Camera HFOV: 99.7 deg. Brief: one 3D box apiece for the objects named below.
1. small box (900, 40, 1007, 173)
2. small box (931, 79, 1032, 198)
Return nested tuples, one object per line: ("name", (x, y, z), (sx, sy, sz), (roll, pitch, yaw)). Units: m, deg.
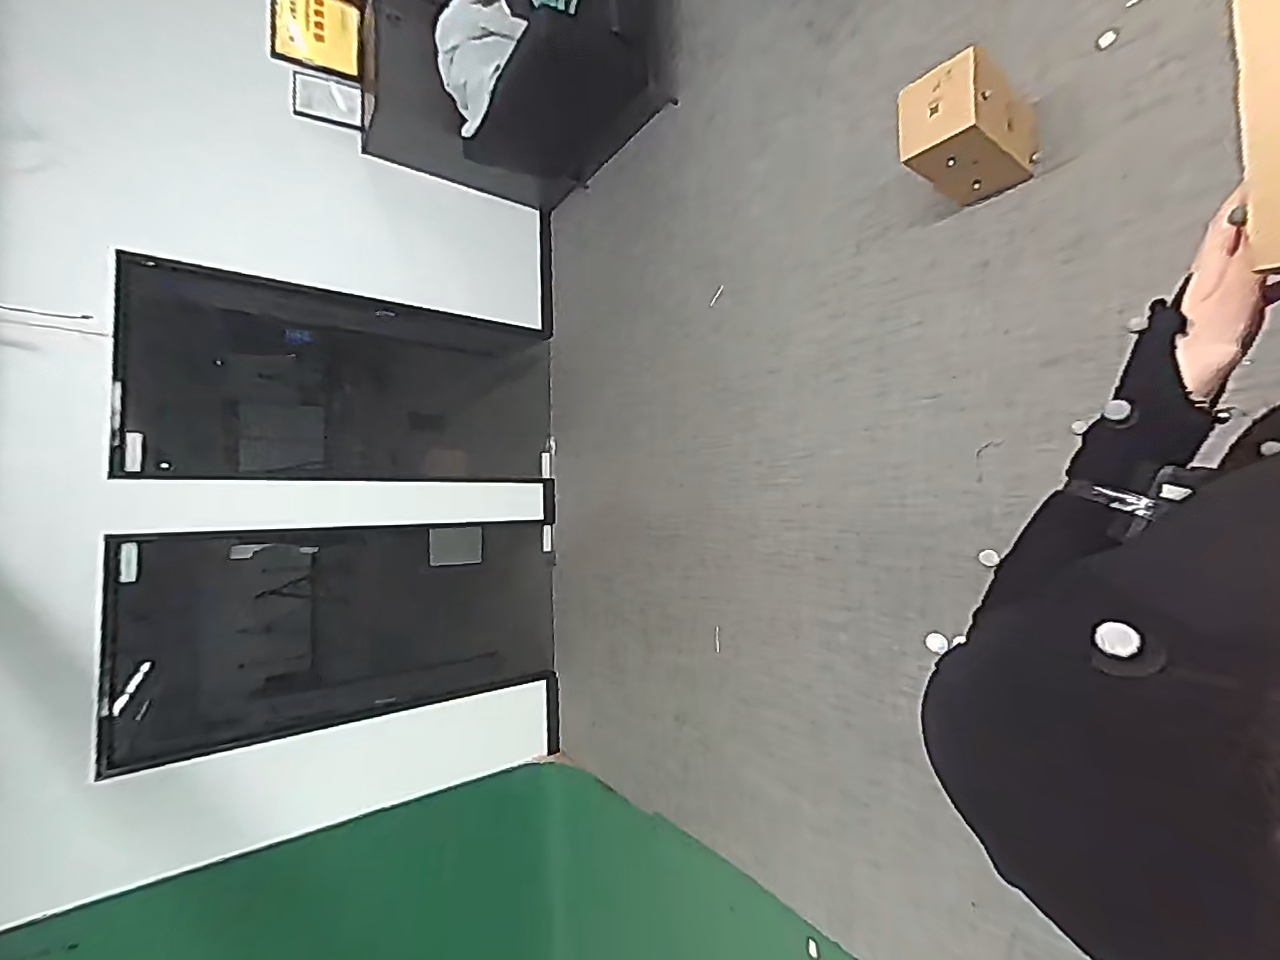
("small box", (0.724, -0.843, 1.249), (0.168, 0.176, 0.179), (-2, 88, 54))
("small box", (0.854, -0.840, 1.350), (0.179, 0.176, 0.168), (-3, 88, 55))
